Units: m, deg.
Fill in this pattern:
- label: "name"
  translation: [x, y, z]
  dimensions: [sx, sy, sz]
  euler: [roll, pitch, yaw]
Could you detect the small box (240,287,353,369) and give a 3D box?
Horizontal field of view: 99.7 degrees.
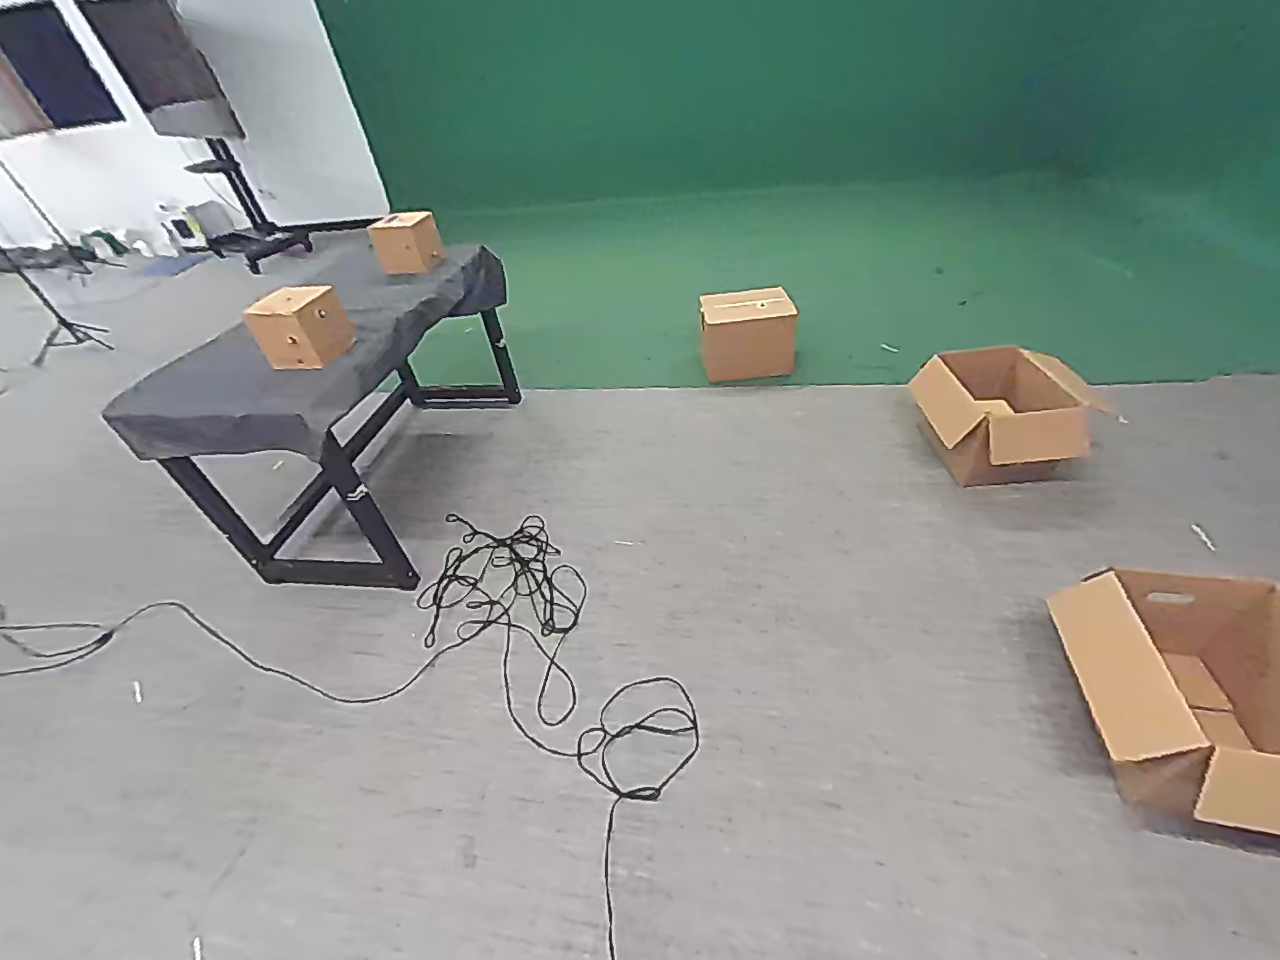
- label: "small box"
  translation: [-0.941, -0.421, 1.503]
  dimensions: [0.168, 0.176, 0.179]
  euler: [3, 40, 11]
